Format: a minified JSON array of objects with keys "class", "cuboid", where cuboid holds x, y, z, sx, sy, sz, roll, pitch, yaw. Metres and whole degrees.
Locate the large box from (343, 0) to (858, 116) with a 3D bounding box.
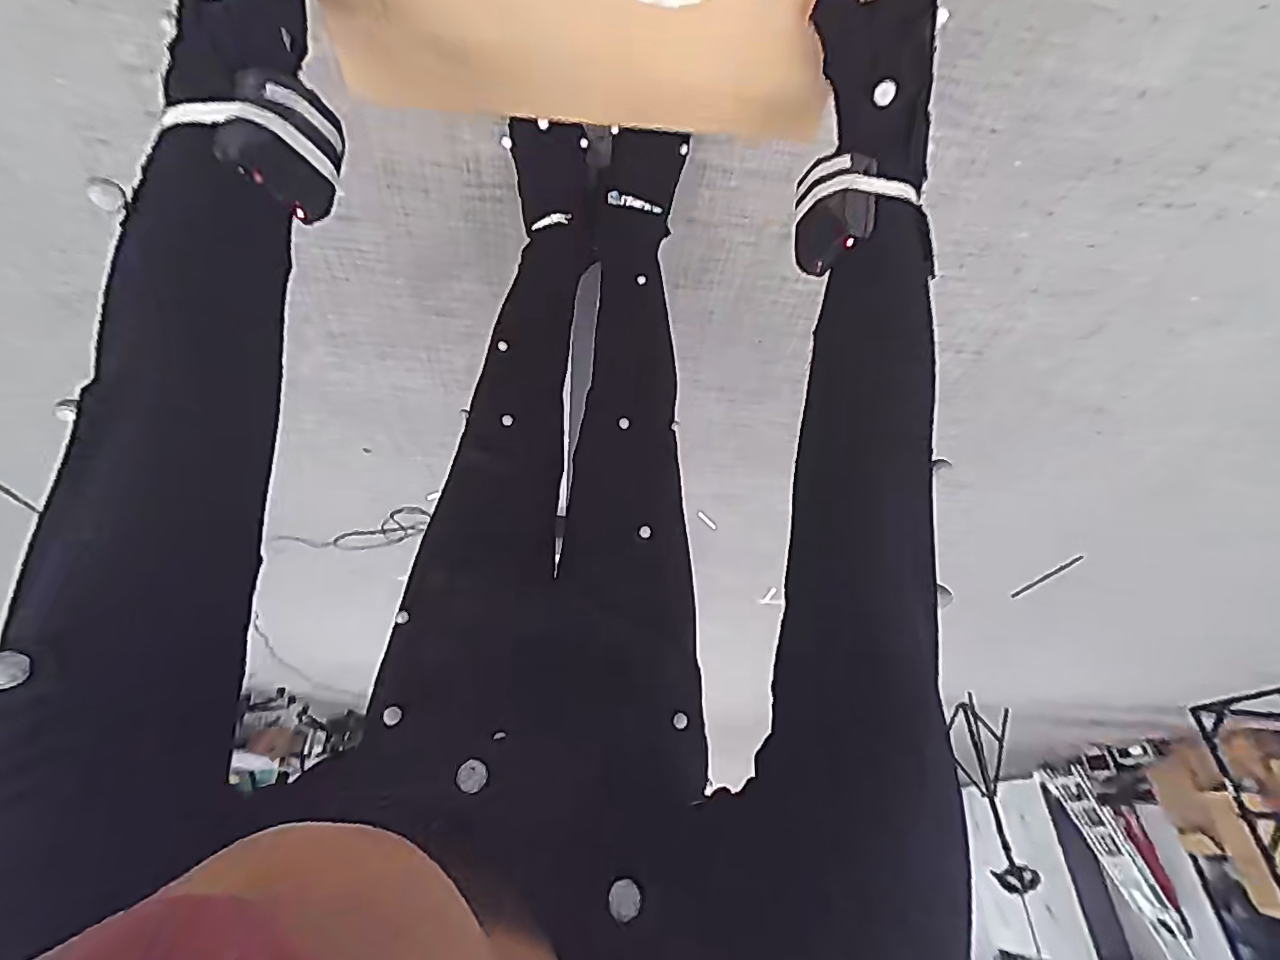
[{"class":"large box","cuboid":[-0.026,-0.537,0.428,0.408,0.320,0.320,3,147,-2]}]
